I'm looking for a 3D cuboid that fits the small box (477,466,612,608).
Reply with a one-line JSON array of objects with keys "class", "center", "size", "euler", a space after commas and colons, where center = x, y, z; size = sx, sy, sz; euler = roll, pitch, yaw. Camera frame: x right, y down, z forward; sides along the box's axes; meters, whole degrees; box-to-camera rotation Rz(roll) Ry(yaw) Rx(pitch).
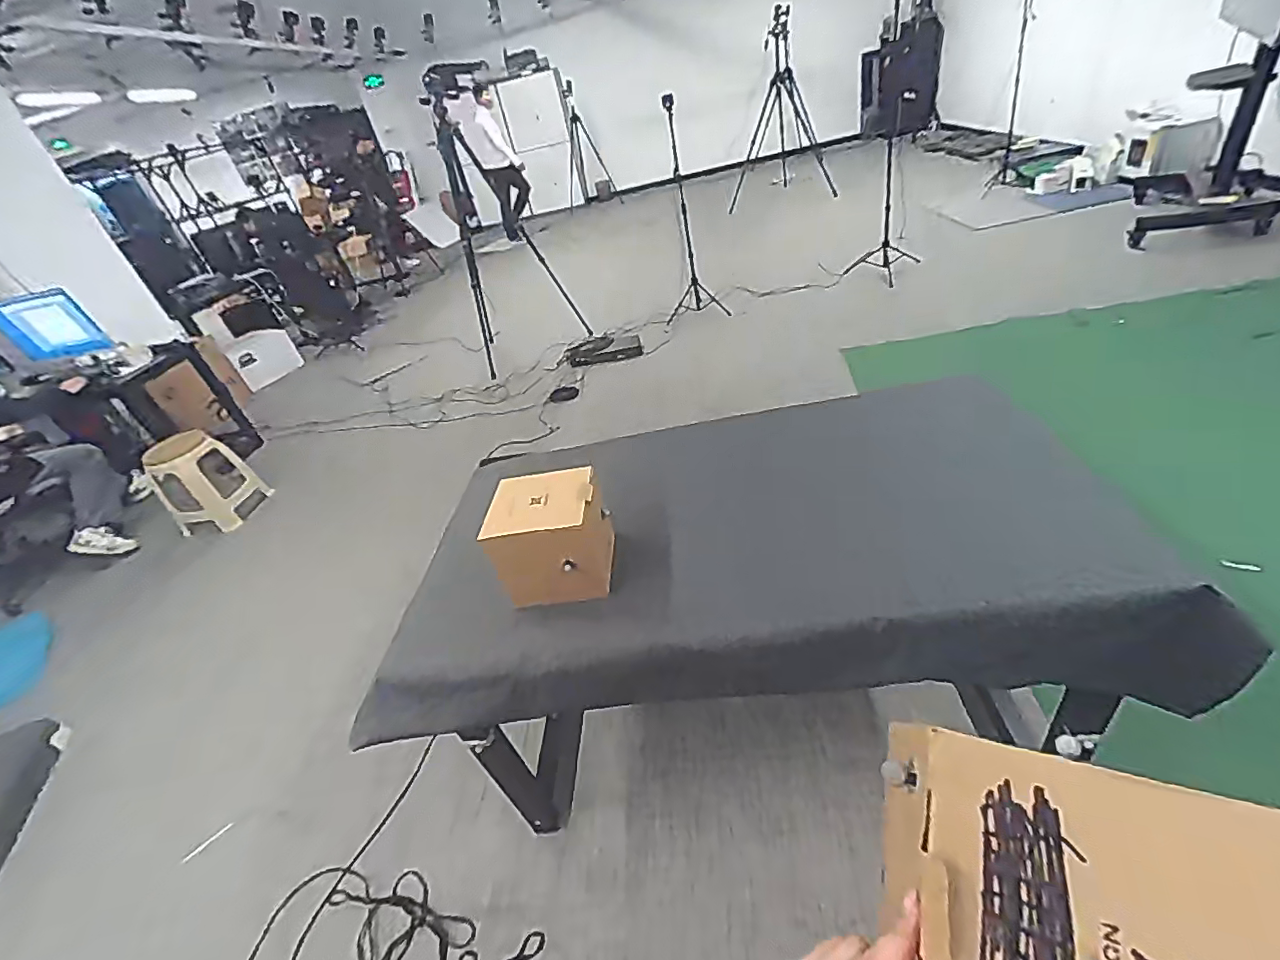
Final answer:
[{"class": "small box", "center": [-0.151, 0.101, 0.940], "size": [0.179, 0.176, 0.168], "euler": [-9, 34, 8]}]
